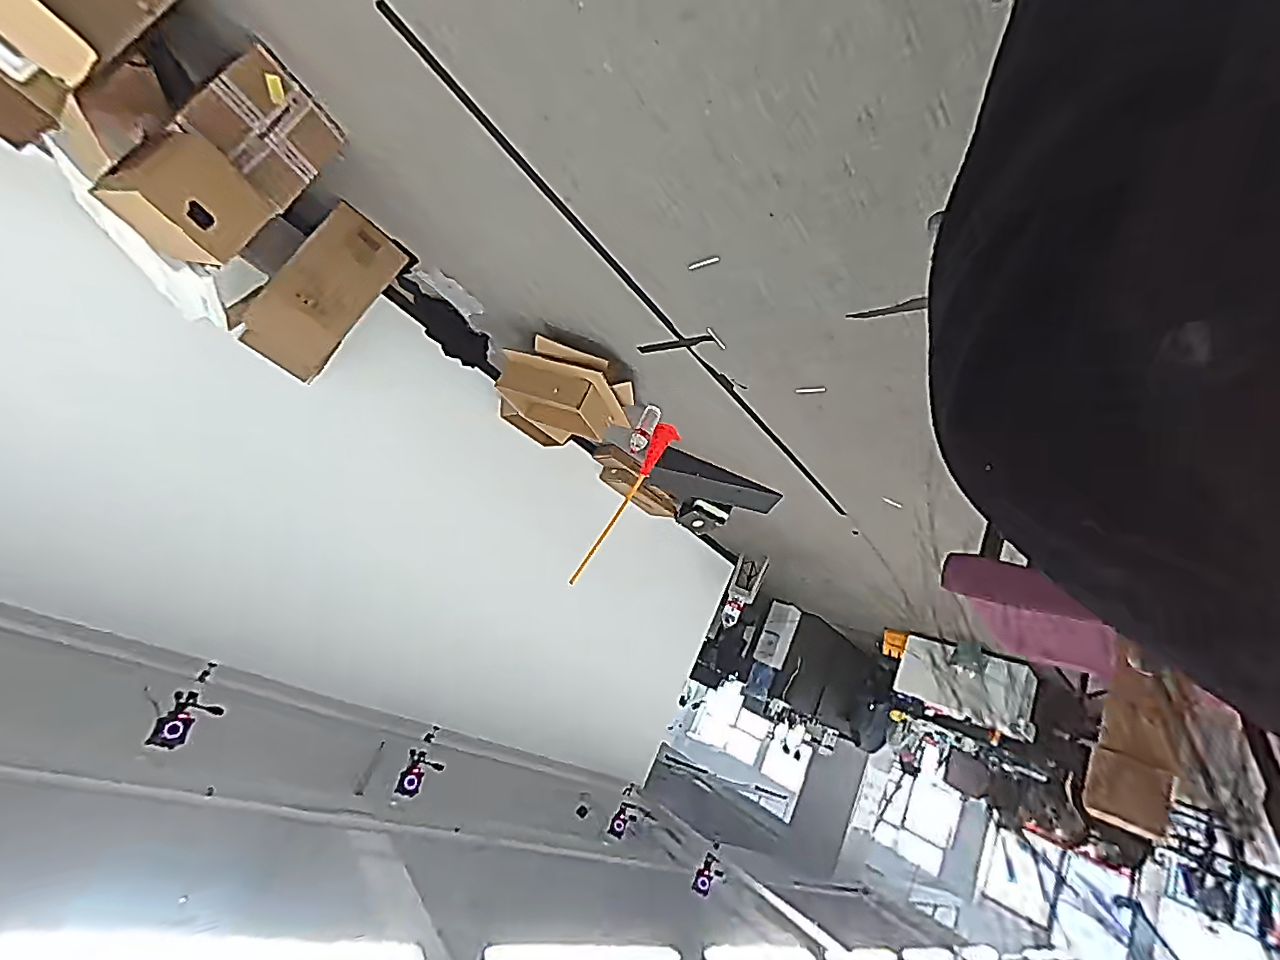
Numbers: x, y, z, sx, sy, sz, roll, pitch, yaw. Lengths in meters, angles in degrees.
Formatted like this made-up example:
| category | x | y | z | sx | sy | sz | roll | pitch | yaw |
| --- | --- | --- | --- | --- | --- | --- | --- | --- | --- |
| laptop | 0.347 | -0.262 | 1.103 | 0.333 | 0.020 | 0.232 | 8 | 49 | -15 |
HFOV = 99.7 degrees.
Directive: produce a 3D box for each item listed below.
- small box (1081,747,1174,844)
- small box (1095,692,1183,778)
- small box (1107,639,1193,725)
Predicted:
| category | x | y | z | sx | sy | sz | roll | pitch | yaw |
| --- | --- | --- | --- | --- | --- | --- | --- | --- | --- |
| small box | 1.338 | 0.858 | 1.482 | 0.179 | 0.176 | 0.168 | 38 | 161 | -36 |
| small box | 1.421 | 0.729 | 1.540 | 0.168 | 0.176 | 0.179 | 7 | 155 | 47 |
| small box | 1.489 | 0.586 | 1.582 | 0.168 | 0.176 | 0.179 | 8 | 156 | 47 |
